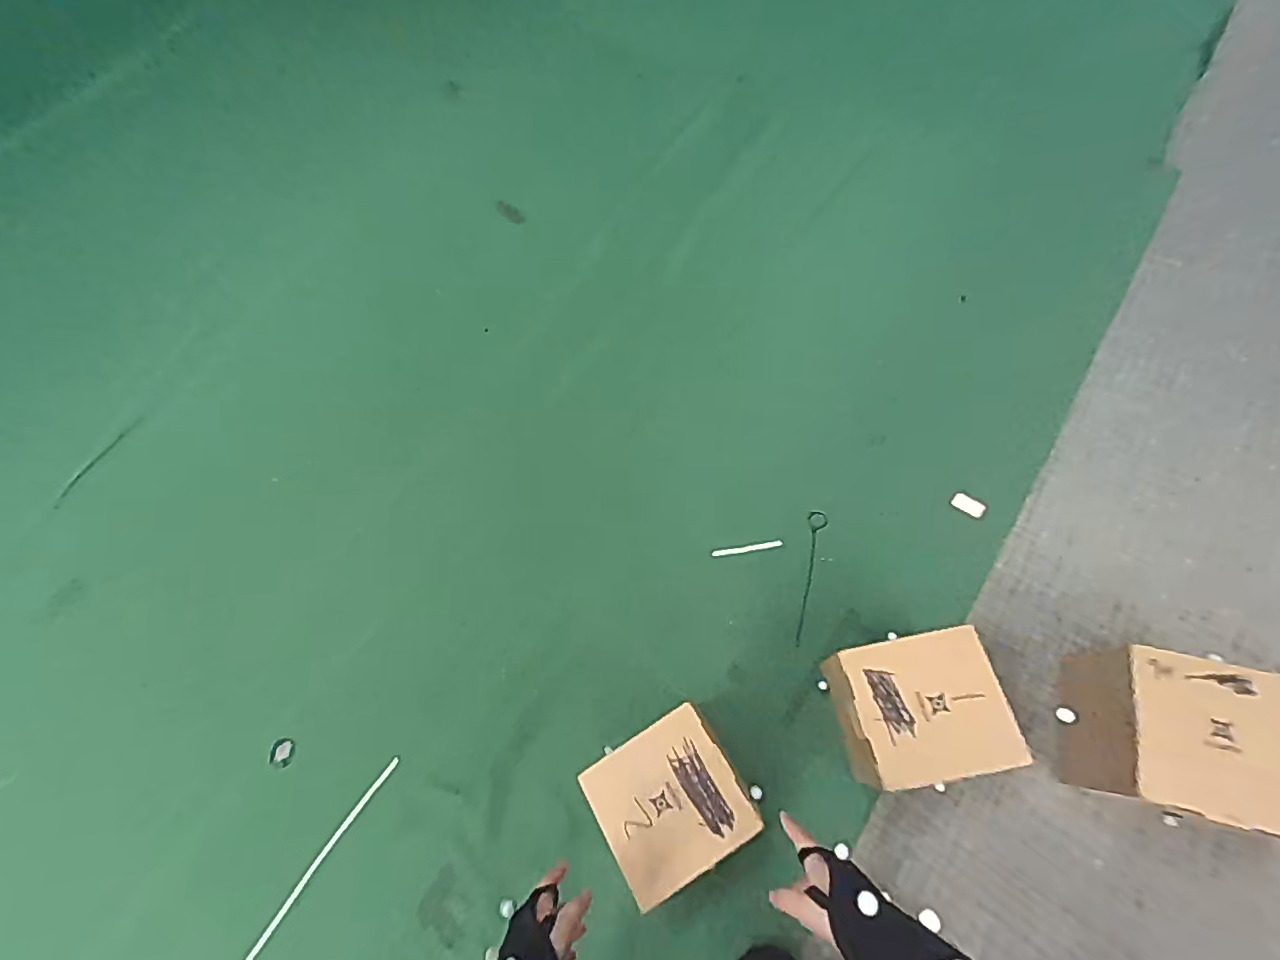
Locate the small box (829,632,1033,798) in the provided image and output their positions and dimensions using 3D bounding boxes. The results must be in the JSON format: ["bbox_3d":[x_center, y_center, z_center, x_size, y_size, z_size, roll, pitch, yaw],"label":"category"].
[{"bbox_3d":[0.368,0.317,0.730,0.179,0.176,0.168,-13,64,3],"label":"small box"}]

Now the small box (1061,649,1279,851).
[{"bbox_3d":[0.662,0.328,0.673,0.168,0.176,0.179,12,69,15],"label":"small box"}]
